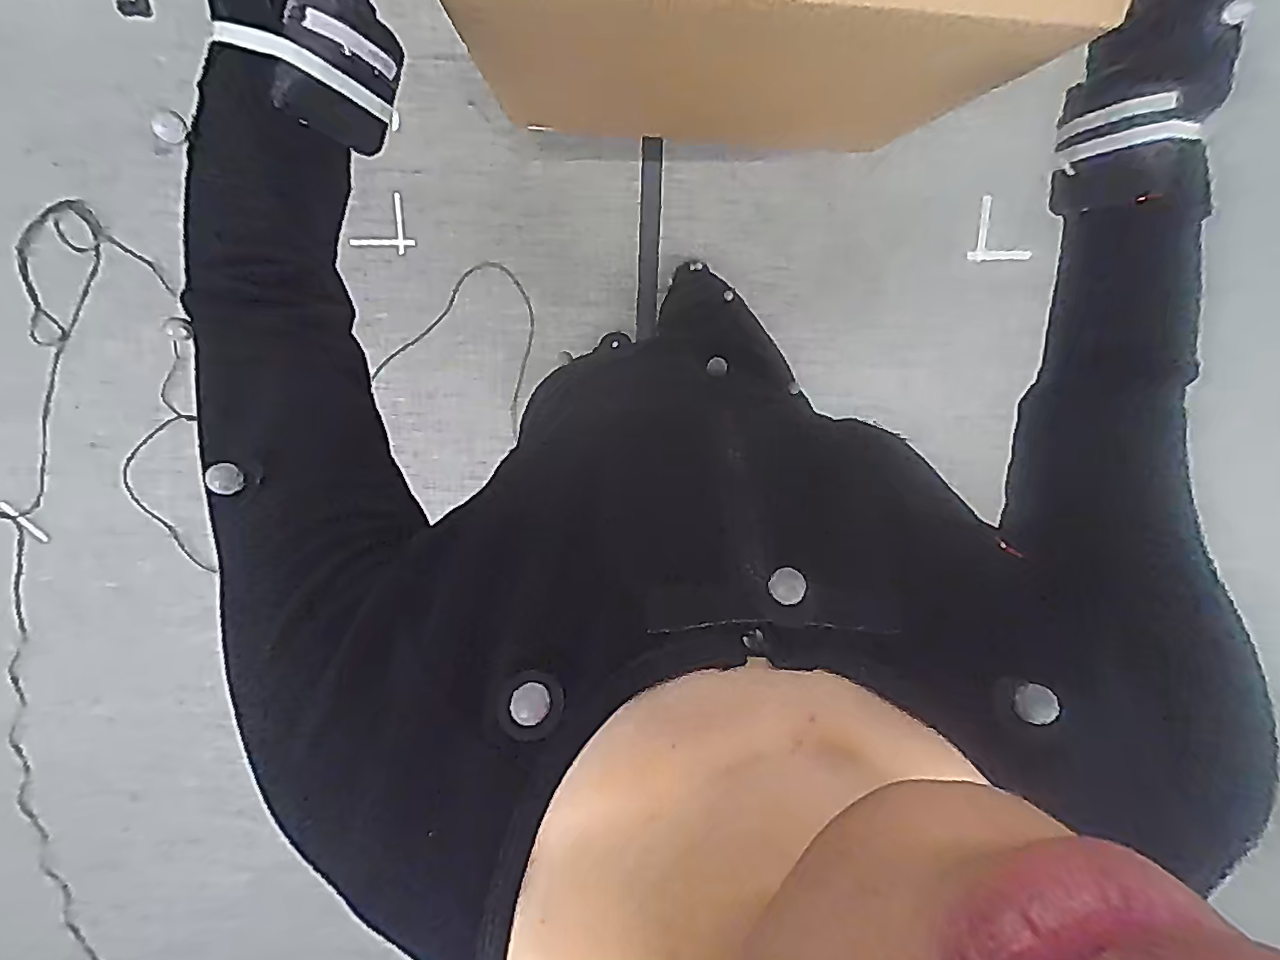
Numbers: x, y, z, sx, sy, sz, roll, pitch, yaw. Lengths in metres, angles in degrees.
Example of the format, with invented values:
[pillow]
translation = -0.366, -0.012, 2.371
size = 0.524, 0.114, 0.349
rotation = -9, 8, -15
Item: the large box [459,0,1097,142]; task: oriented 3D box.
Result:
[large box]
translation = 0.075, -0.477, 0.408
size = 0.408, 0.320, 0.320
rotation = 1, 110, -5
